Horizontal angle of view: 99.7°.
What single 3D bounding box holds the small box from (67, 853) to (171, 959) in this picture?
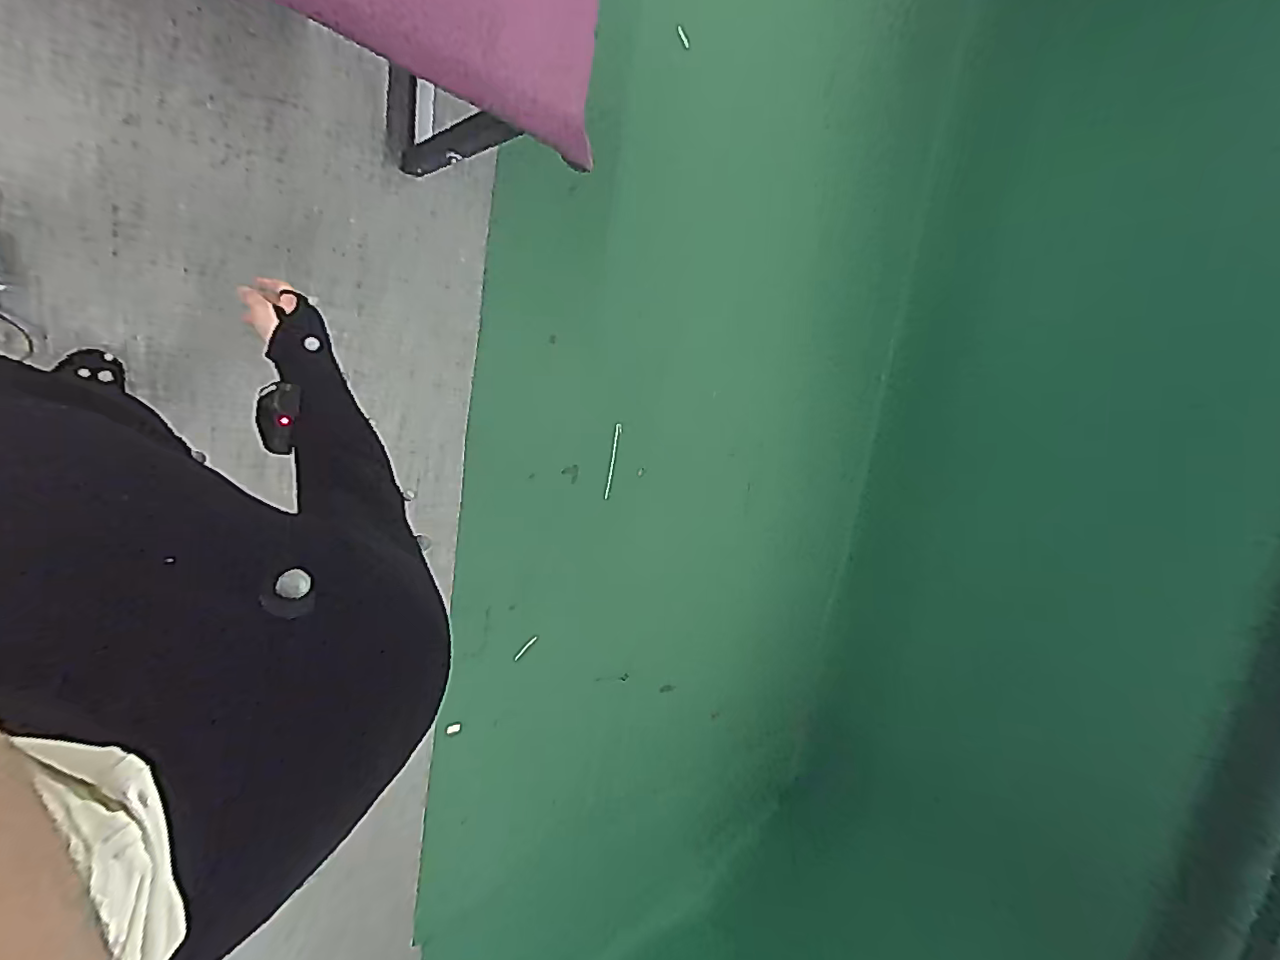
[{"bbox_3d":[-1.233,1.043,1.279,0.168,0.176,0.179,5,99,-46],"label":"small box"}]
